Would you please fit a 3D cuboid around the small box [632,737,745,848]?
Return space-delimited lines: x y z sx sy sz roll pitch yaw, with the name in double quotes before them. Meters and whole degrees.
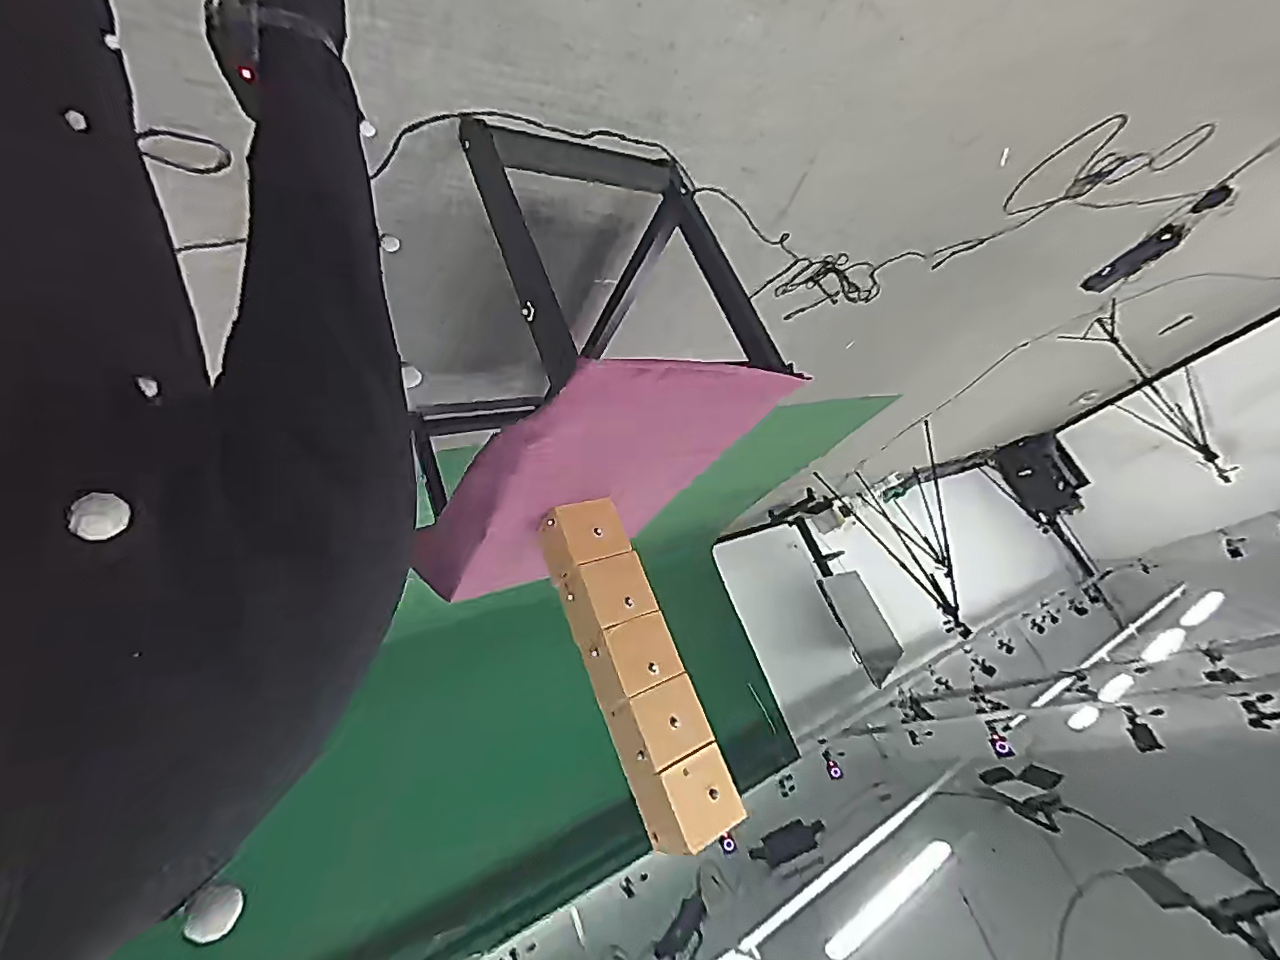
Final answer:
"small box" 0.103 0.717 1.256 0.168 0.176 0.179 -11 159 -33

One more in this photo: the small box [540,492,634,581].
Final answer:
"small box" -0.151 0.149 1.456 0.179 0.176 0.168 -10 158 -34

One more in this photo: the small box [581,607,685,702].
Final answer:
"small box" -0.022 0.434 1.359 0.179 0.176 0.168 -10 157 -33

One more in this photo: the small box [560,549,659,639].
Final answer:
"small box" -0.084 0.291 1.407 0.179 0.176 0.168 -9 157 -33
